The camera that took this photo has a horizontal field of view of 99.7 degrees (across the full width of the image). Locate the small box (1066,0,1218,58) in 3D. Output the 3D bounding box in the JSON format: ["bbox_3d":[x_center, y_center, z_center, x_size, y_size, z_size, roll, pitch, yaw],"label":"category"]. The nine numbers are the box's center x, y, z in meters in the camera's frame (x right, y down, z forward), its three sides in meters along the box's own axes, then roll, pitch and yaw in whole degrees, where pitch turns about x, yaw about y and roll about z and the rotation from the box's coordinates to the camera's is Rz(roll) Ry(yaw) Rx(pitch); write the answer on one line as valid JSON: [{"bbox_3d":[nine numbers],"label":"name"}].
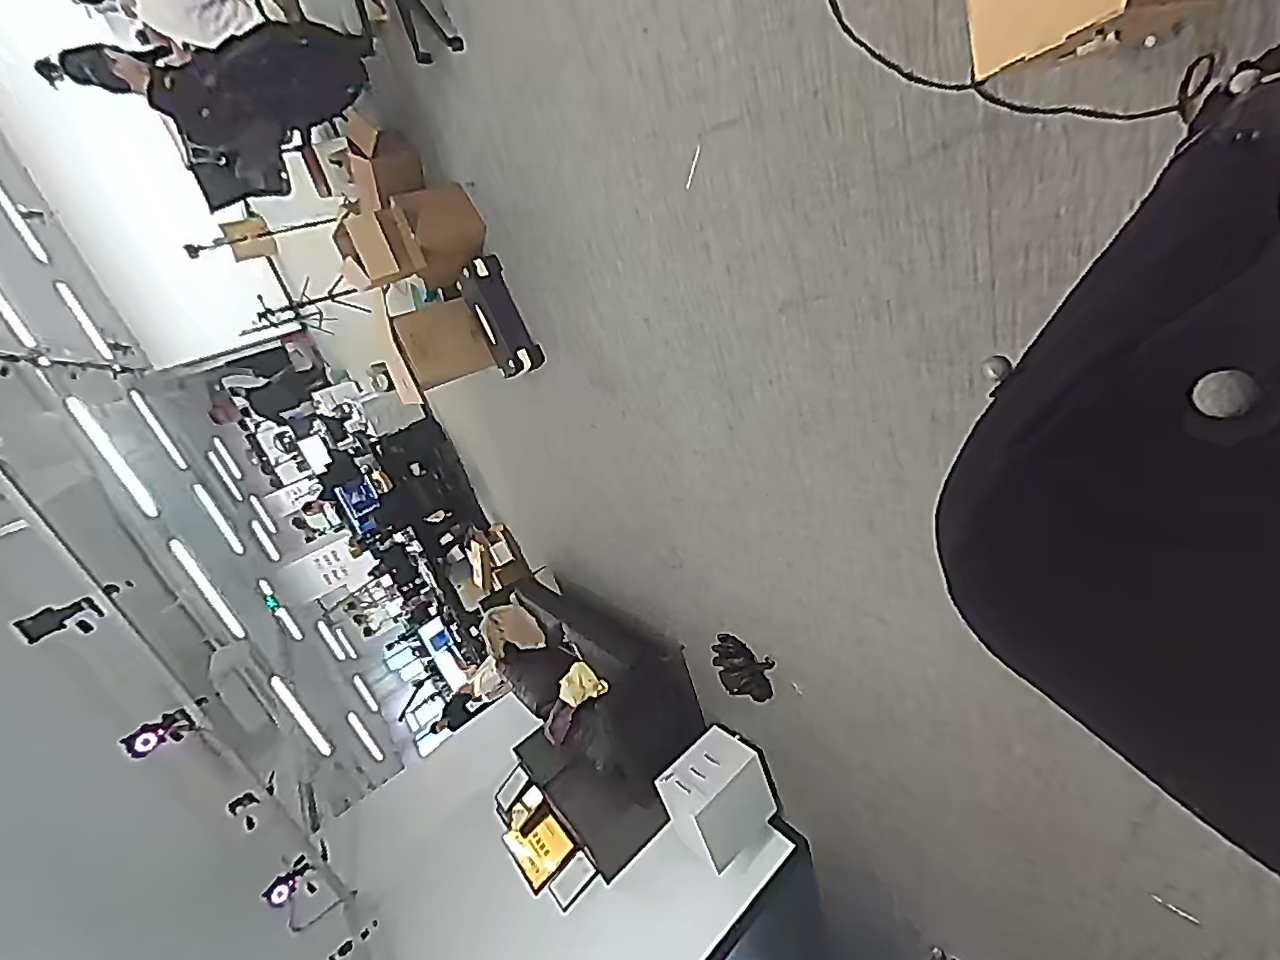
[{"bbox_3d":[0.796,-0.808,0.846,0.168,0.176,0.179,4,121,57],"label":"small box"}]
